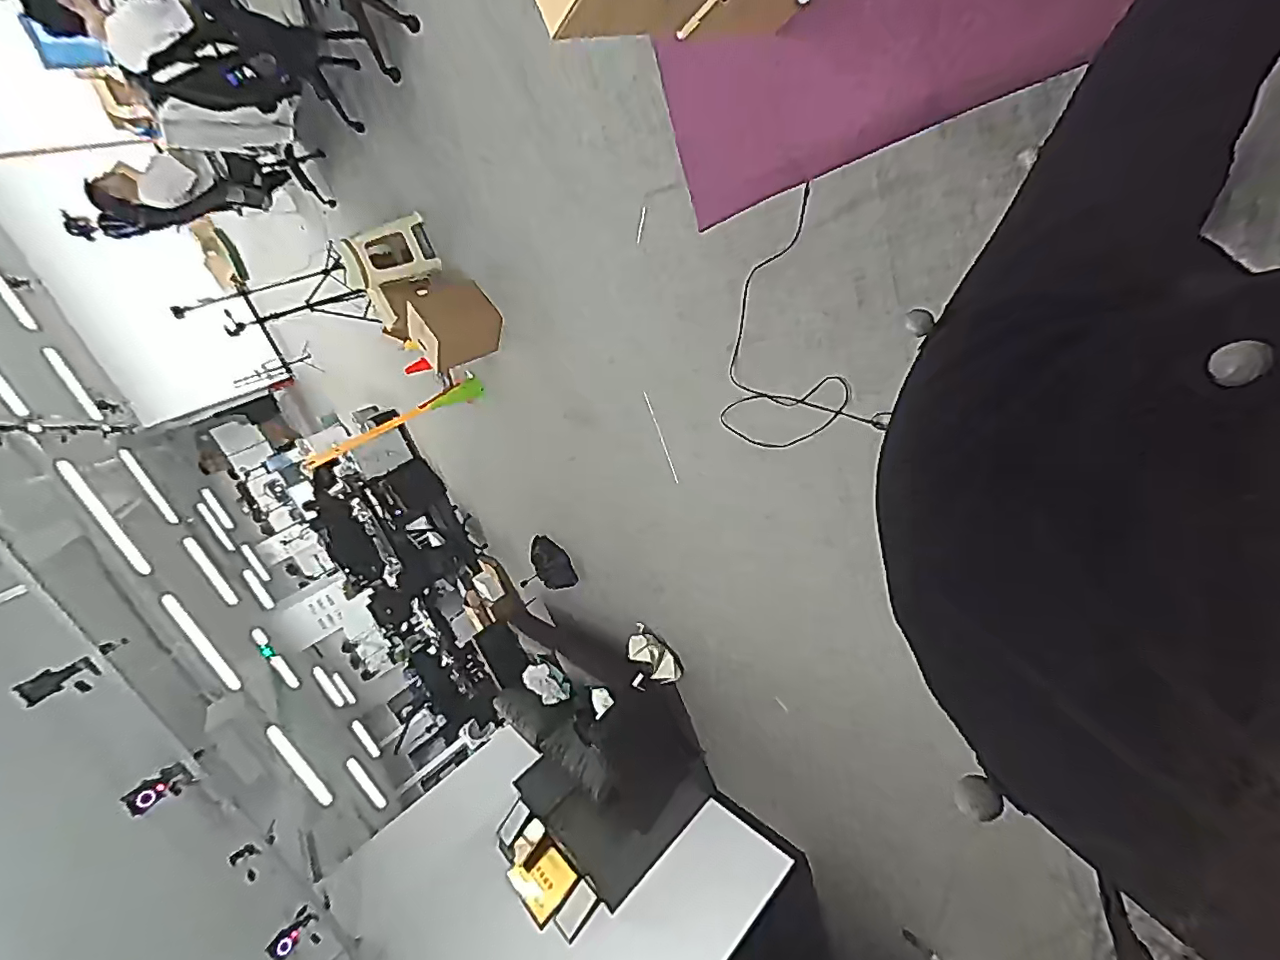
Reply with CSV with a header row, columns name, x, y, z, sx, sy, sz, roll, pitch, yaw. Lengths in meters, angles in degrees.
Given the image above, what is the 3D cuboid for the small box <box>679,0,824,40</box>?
name,x,y,z,sx,sy,sz,roll,pitch,yaw
small box,0.123,-0.578,0.531,0.168,0.176,0.179,1,118,55

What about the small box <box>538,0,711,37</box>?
name,x,y,z,sx,sy,sz,roll,pitch,yaw
small box,0.003,-0.505,0.439,0.179,0.176,0.168,3,118,54
